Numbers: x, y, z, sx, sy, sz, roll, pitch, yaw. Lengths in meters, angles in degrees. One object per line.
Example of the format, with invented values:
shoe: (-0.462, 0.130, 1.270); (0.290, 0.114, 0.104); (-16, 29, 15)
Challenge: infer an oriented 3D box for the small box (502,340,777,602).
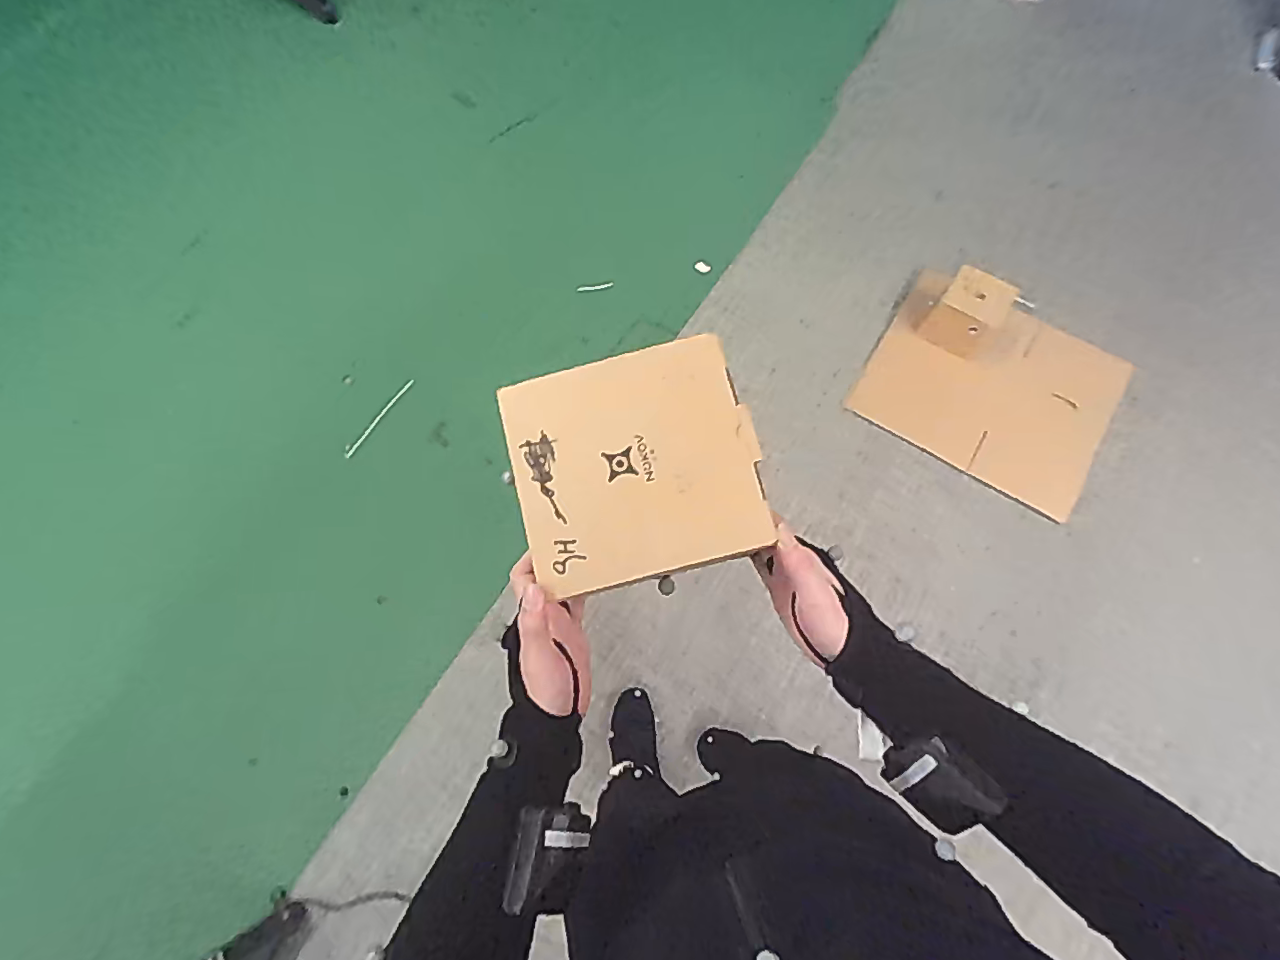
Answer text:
small box: (-0.001, 0.004, 0.472); (0.179, 0.176, 0.168); (-13, 78, 0)

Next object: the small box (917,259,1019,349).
small box: (0.990, -0.526, 1.646); (0.179, 0.176, 0.168); (33, 76, 12)
